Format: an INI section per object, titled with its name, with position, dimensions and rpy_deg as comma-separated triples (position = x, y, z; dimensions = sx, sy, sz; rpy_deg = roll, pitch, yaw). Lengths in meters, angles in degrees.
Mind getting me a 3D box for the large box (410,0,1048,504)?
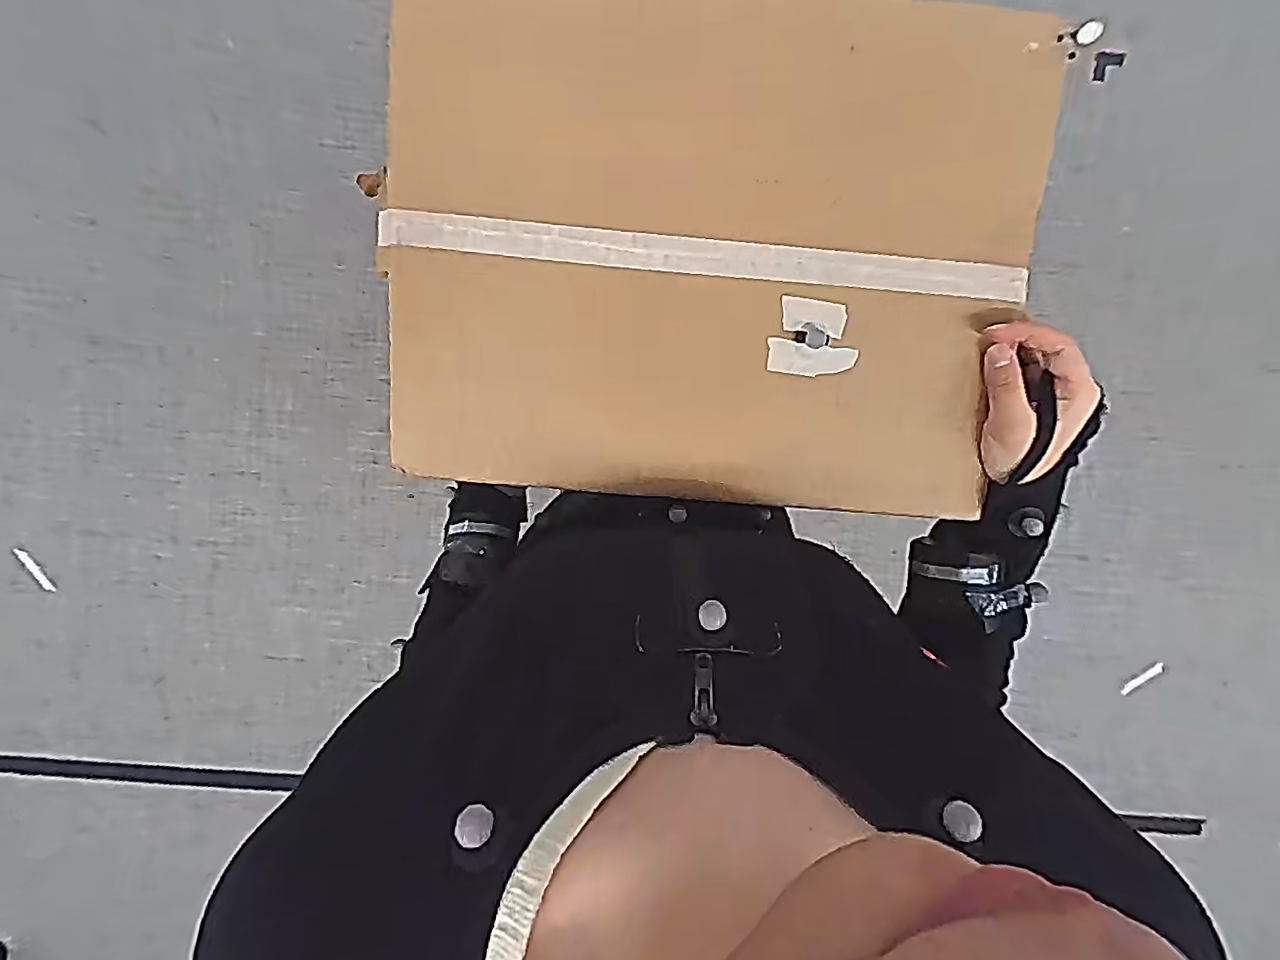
[large box]
position = 0.043, -0.167, 0.499
dimensions = 0.408, 0.320, 0.320
rpy_deg = 4, 100, -4
